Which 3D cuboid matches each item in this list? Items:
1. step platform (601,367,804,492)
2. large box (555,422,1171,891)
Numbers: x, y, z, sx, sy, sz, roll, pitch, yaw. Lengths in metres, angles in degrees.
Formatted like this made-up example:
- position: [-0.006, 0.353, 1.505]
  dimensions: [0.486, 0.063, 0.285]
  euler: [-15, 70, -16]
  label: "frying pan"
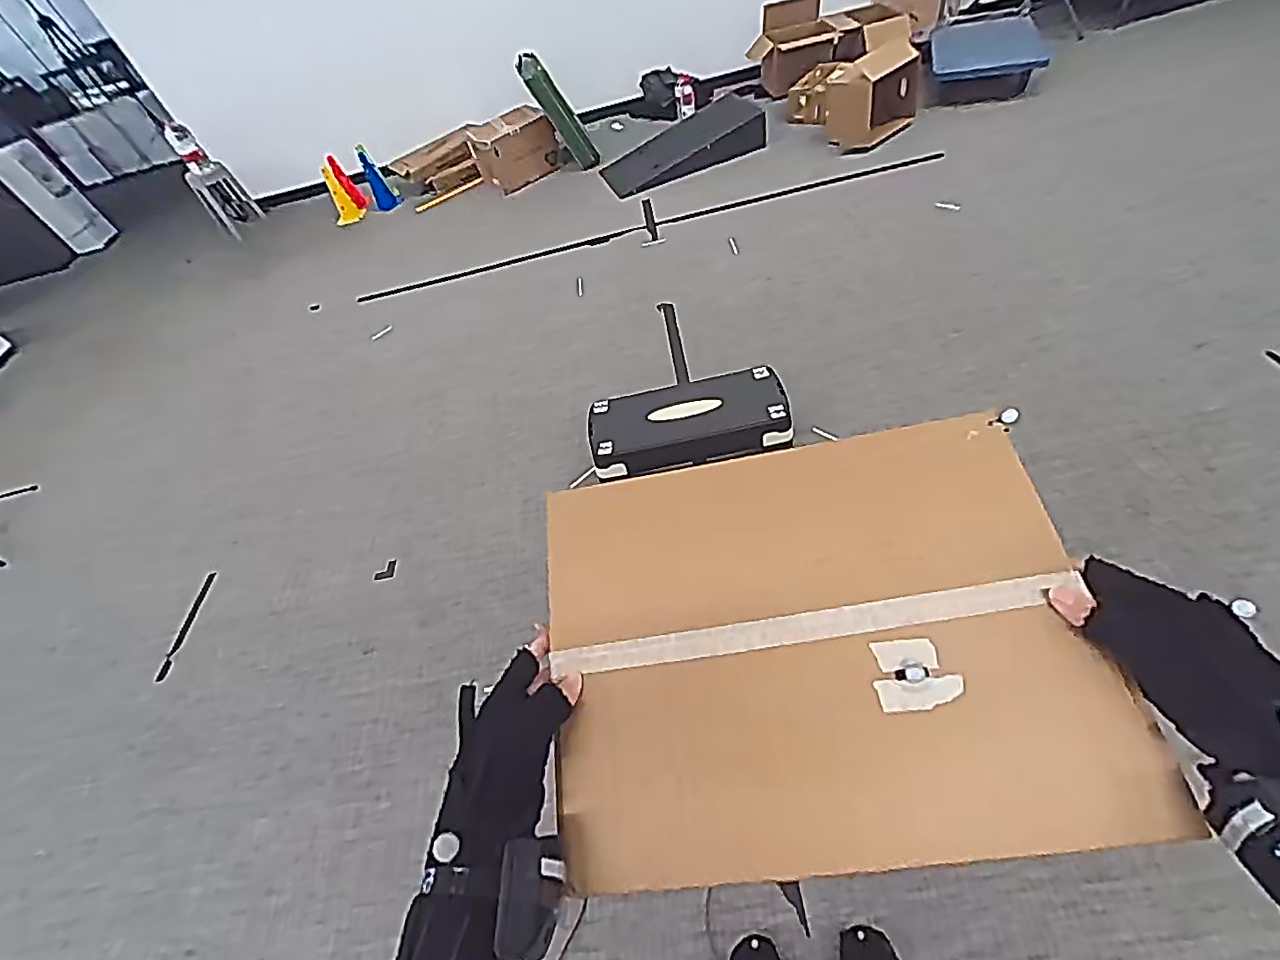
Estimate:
- position: [0.207, -0.175, 1.875]
  dimensions: [0.684, 0.204, 0.286]
  euler: [-12, 50, 4]
  label: "step platform"
- position: [0.155, 0.187, 0.562]
  dimensions: [0.408, 0.320, 0.320]
  euler: [-11, 62, 7]
  label: "large box"
